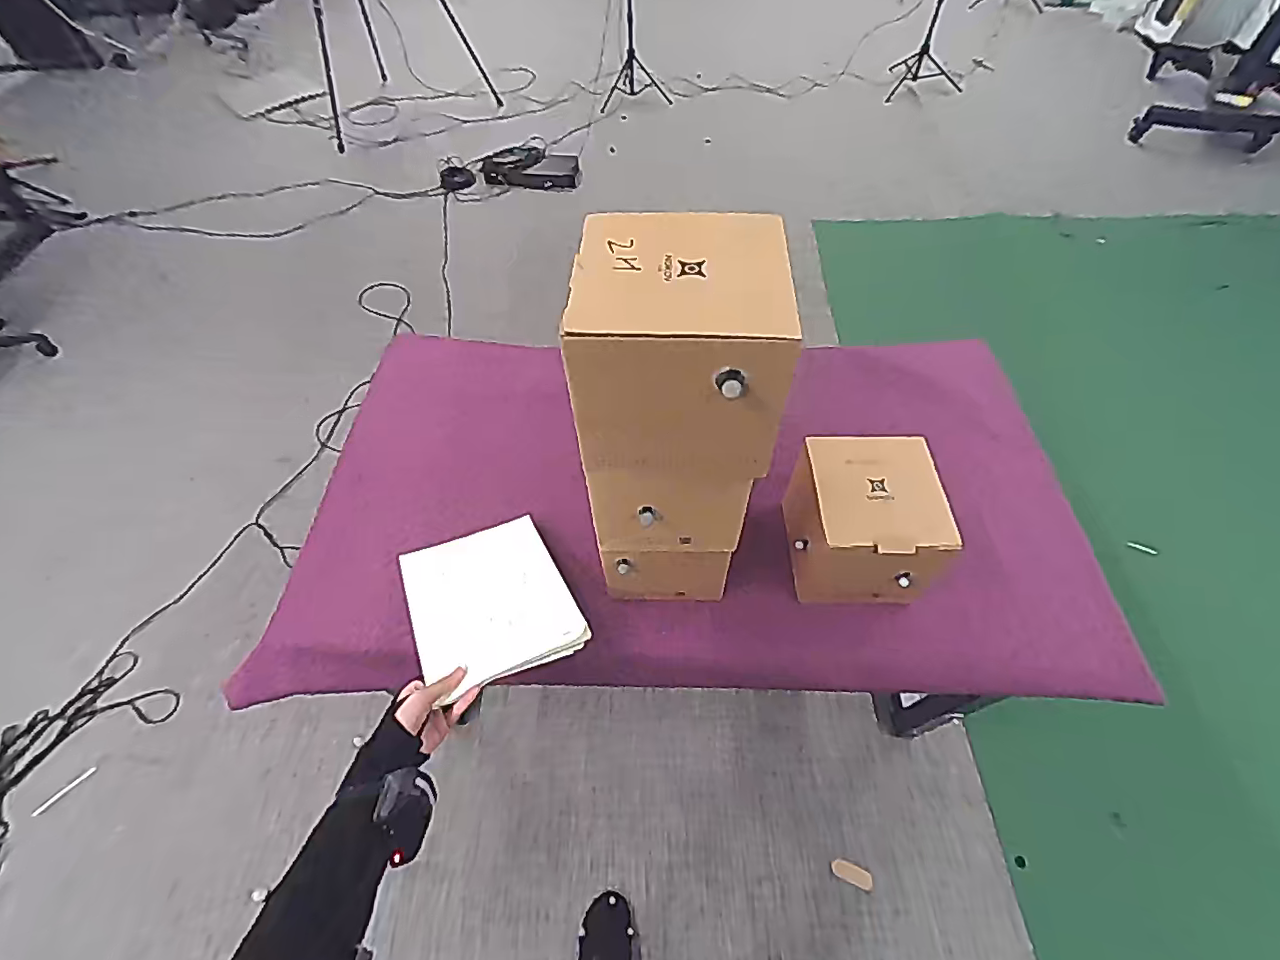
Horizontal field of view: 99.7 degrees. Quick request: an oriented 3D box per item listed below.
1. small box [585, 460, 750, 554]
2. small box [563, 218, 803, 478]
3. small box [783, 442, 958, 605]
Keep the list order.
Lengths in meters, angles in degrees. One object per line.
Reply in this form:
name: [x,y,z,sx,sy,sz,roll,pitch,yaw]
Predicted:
small box: [0.033,-0.025,0.637,0.168,0.176,0.179,1,54,2]
small box: [0.038,-0.116,0.499,0.179,0.176,0.168,2,54,4]
small box: [0.308,0.066,0.766,0.168,0.176,0.179,1,54,2]
